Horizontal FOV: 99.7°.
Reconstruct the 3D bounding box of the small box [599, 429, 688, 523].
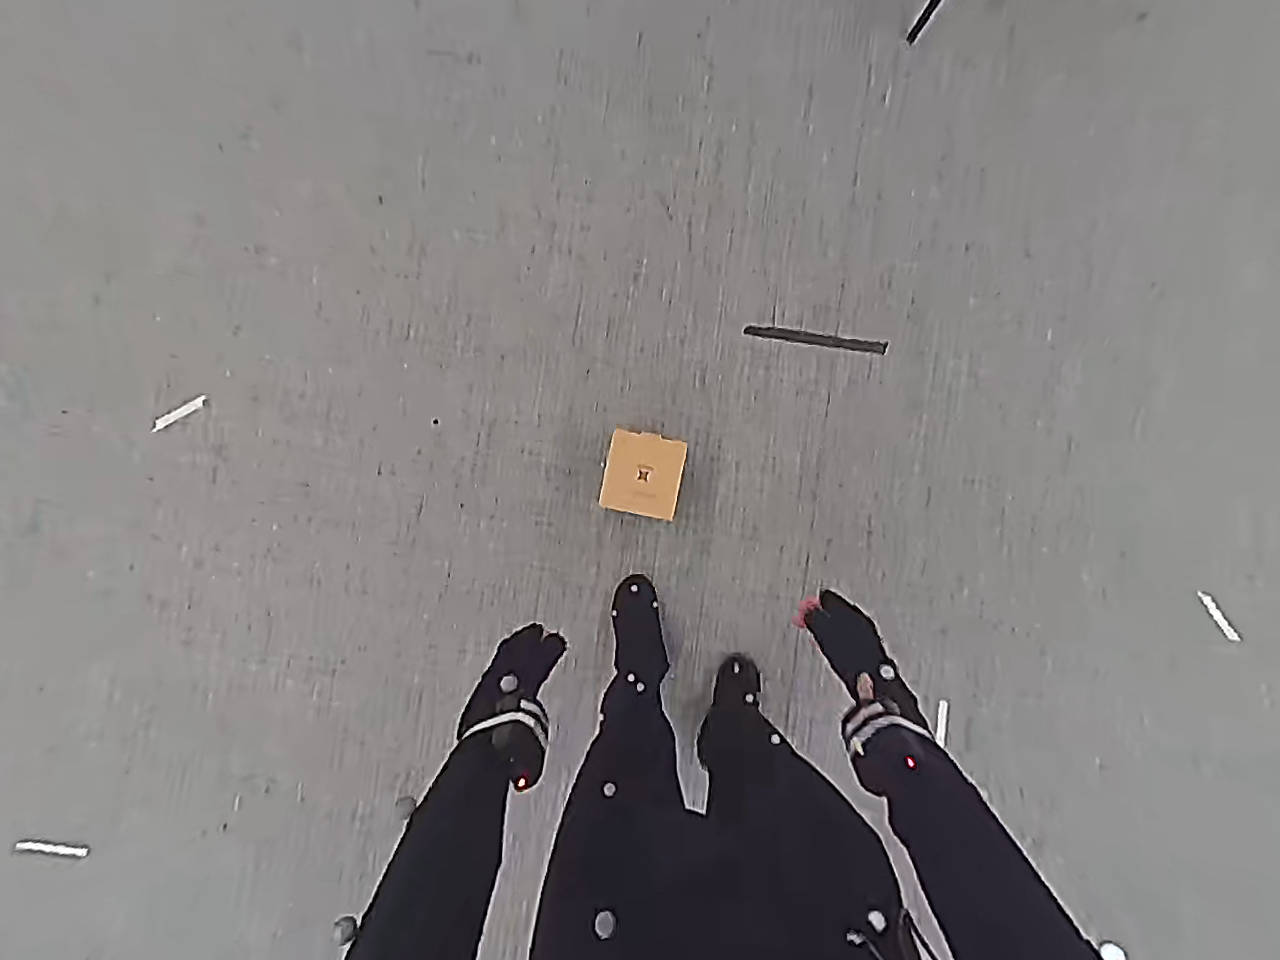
[{"bbox_3d":[0.004,-0.006,1.235,0.168,0.176,0.179,11,88,-1],"label":"small box"}]
